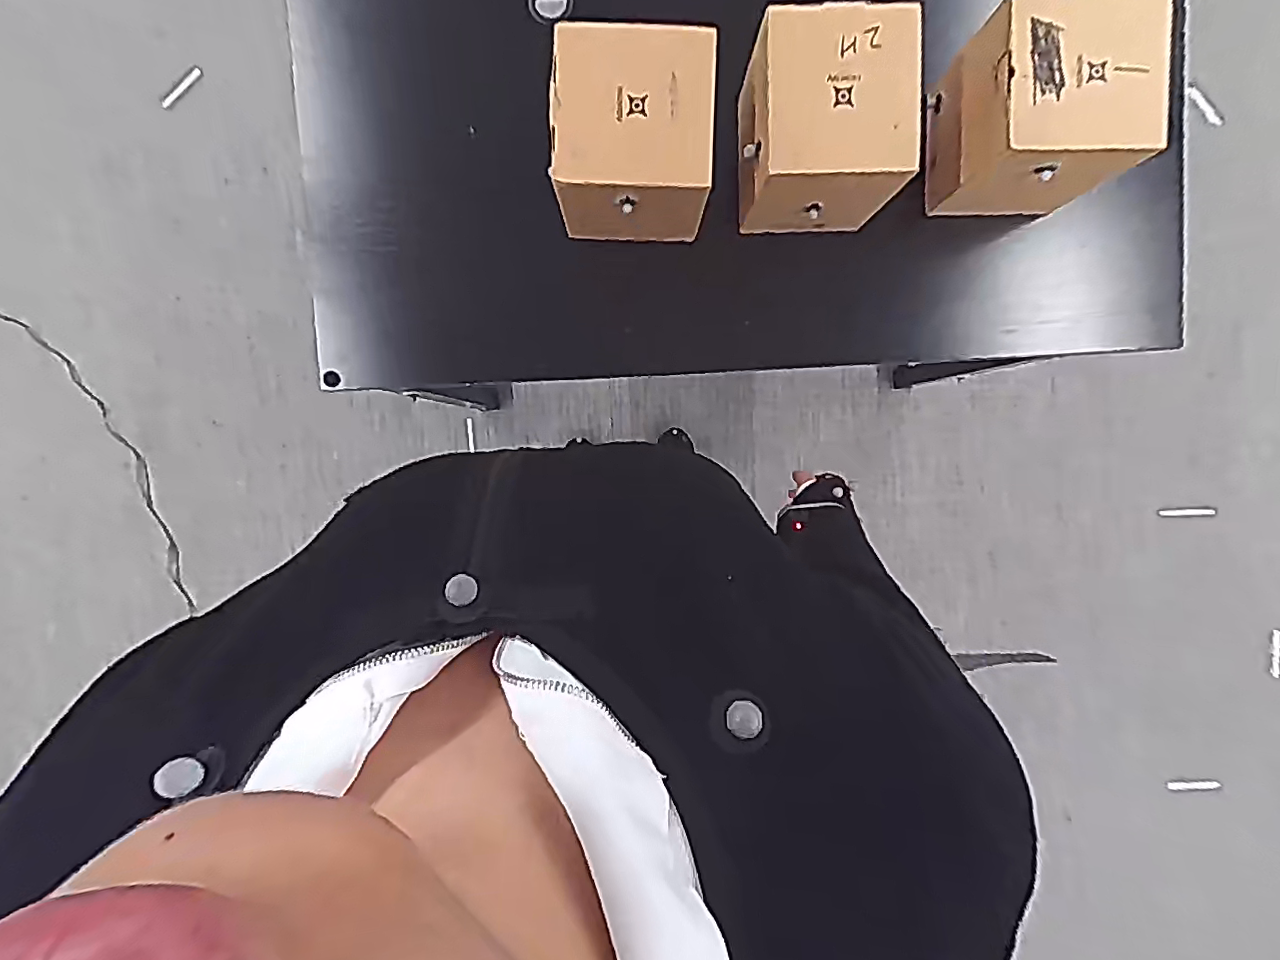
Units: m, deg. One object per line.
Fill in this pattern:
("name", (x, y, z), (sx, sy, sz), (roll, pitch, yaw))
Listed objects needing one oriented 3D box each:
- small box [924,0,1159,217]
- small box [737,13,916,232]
("small box", (0.479, -0.443, 0.672), (0.179, 0.176, 0.168), (-1, 93, -1))
("small box", (0.219, -0.424, 0.671), (0.168, 0.176, 0.179), (-1, 93, -1))
